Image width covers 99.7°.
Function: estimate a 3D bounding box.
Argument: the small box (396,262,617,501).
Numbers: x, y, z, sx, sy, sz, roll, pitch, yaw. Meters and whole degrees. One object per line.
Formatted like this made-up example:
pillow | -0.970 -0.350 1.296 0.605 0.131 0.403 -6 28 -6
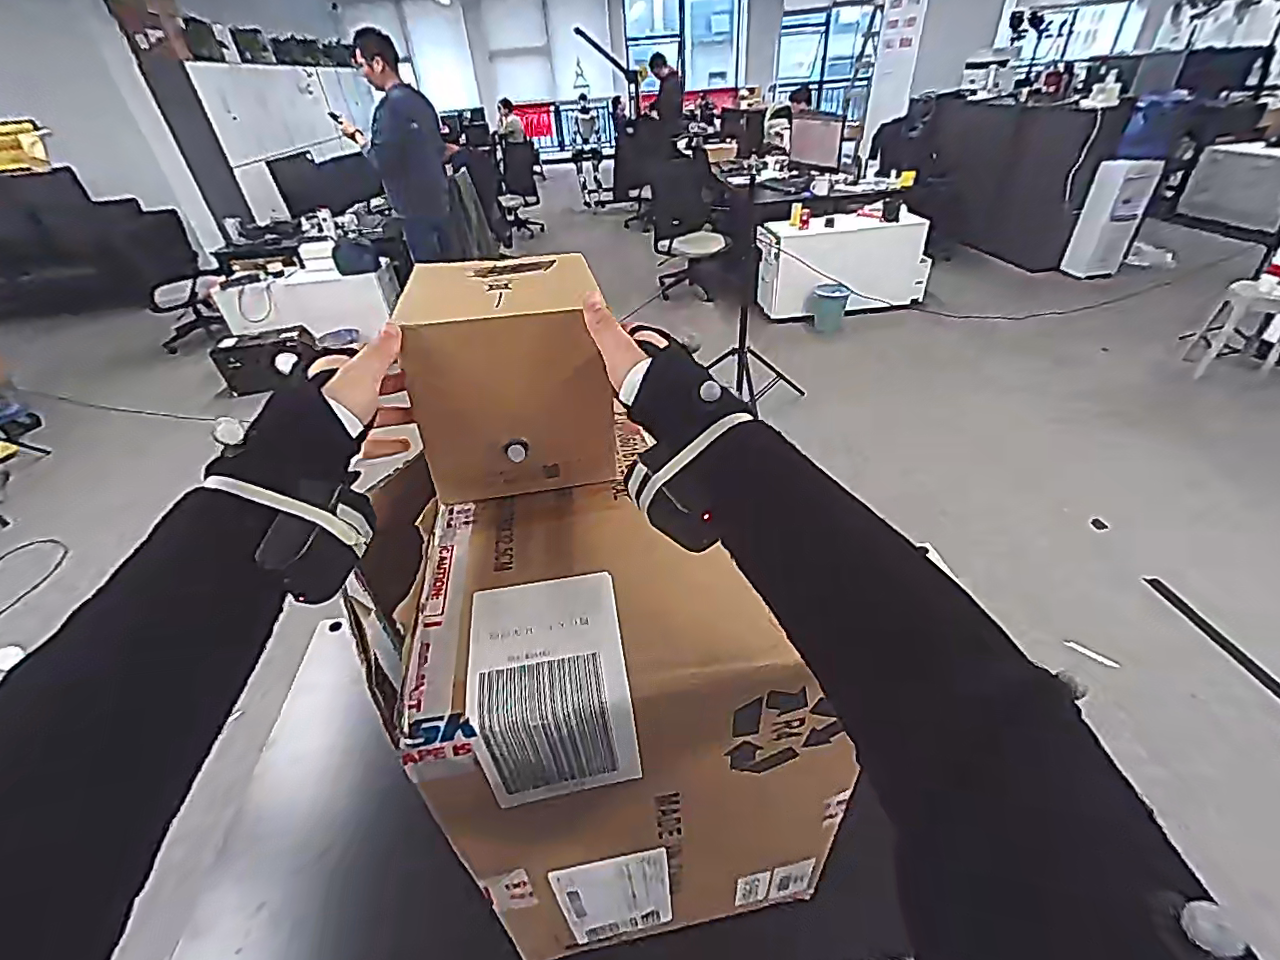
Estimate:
small box | -0.119 -0.102 0.529 0.168 0.176 0.179 -8 36 -8
